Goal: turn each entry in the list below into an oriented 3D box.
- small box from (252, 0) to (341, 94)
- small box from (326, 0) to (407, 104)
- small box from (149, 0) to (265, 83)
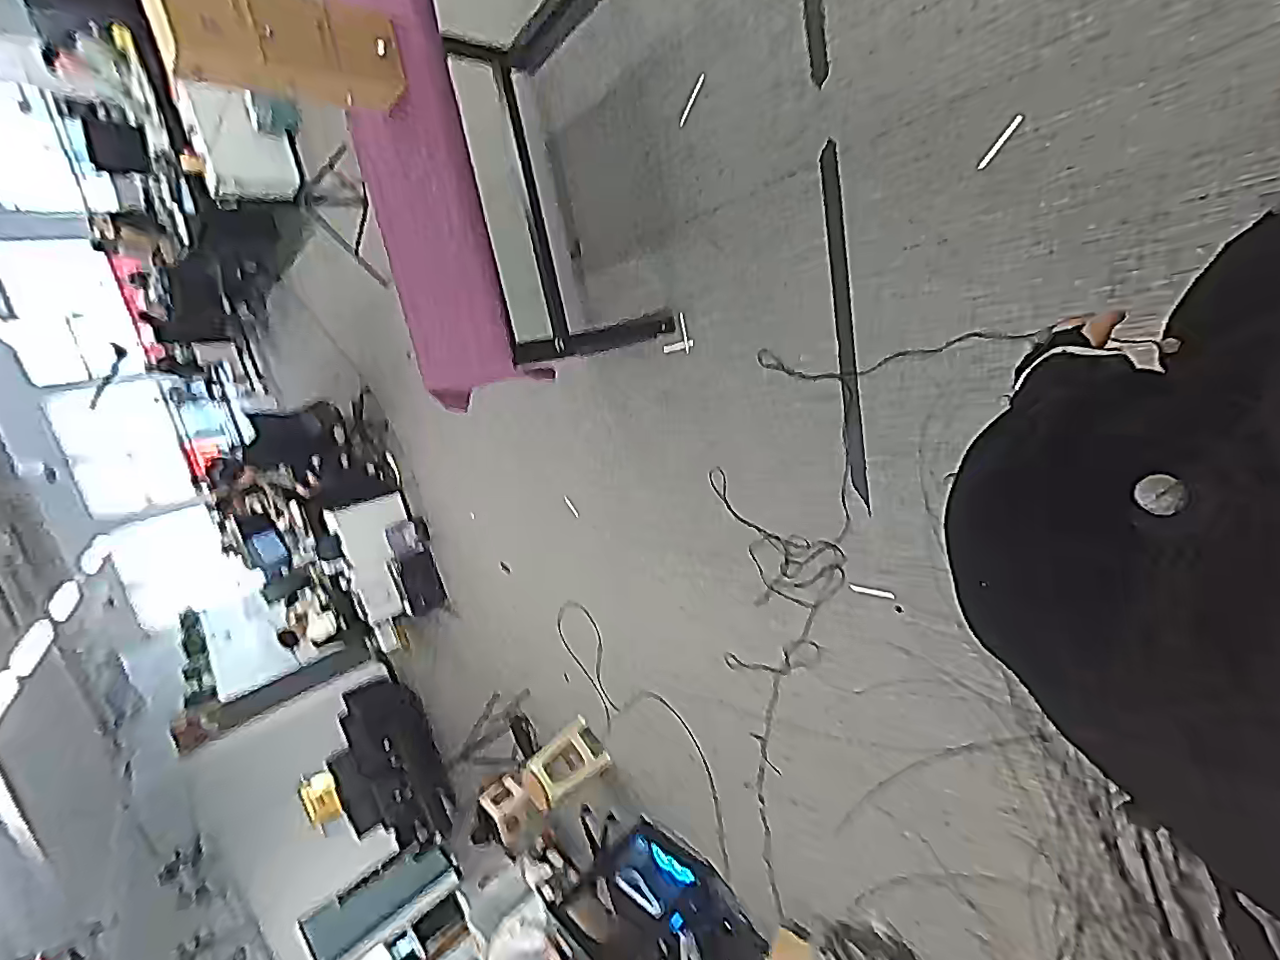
[{"bbox_3d":[-0.856,-1.077,1.322,0.179,0.176,0.168,11,116,47],"label":"small box"},{"bbox_3d":[-0.741,-1.126,1.428,0.179,0.176,0.168,8,113,47],"label":"small box"},{"bbox_3d":[-0.970,-1.028,1.215,0.179,0.176,0.168,11,116,47],"label":"small box"}]
